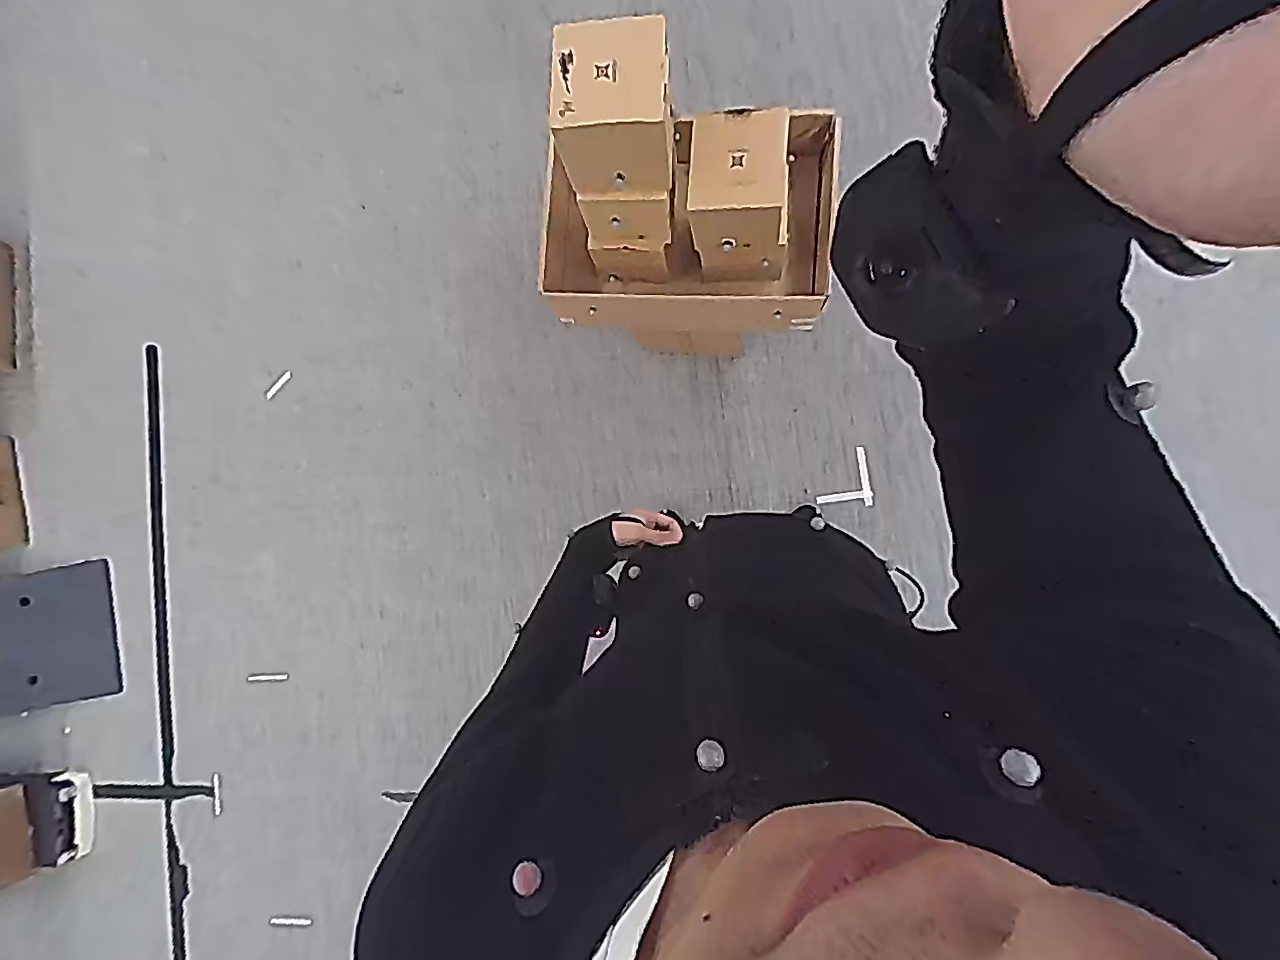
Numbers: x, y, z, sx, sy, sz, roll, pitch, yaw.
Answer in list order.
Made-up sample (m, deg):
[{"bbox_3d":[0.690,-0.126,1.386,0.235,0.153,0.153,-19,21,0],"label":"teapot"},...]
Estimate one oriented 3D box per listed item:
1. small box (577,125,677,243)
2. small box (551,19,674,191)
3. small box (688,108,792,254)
[{"bbox_3d":[-0.018,-0.577,1.042,0.168,0.176,0.179,3,87,7],"label":"small box"},{"bbox_3d":[-0.036,-0.596,0.880,0.179,0.176,0.168,2,86,6],"label":"small box"},{"bbox_3d":[0.184,-0.545,1.004,0.168,0.176,0.179,4,87,12],"label":"small box"}]
